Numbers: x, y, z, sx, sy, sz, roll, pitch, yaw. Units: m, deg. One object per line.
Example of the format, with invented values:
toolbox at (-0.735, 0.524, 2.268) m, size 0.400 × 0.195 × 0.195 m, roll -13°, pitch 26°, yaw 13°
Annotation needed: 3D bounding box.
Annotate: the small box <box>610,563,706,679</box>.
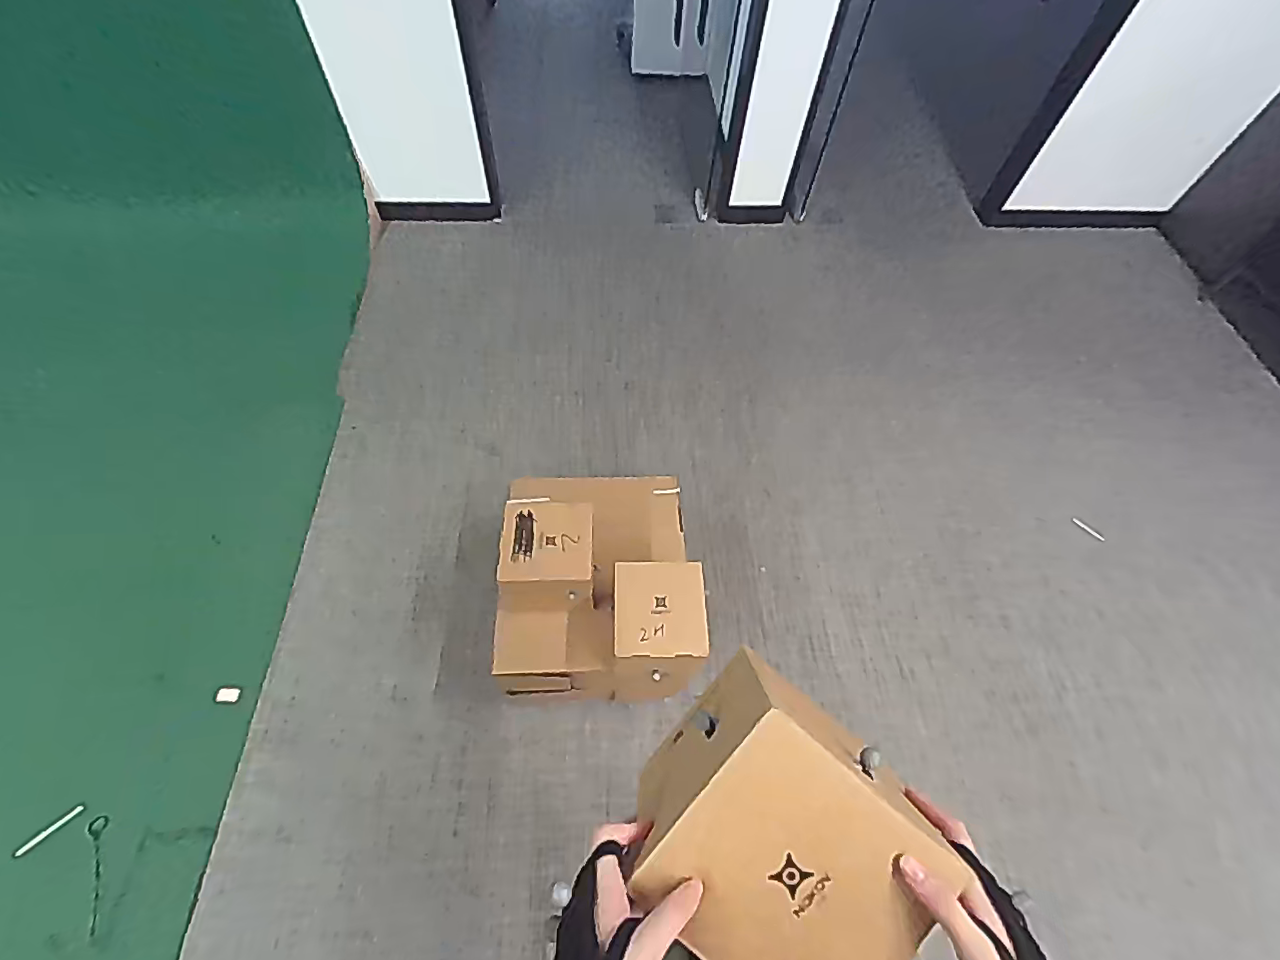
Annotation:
small box at (0.027, 0.273, 1.038) m, size 0.168 × 0.176 × 0.179 m, roll 1°, pitch 58°, yaw -4°
